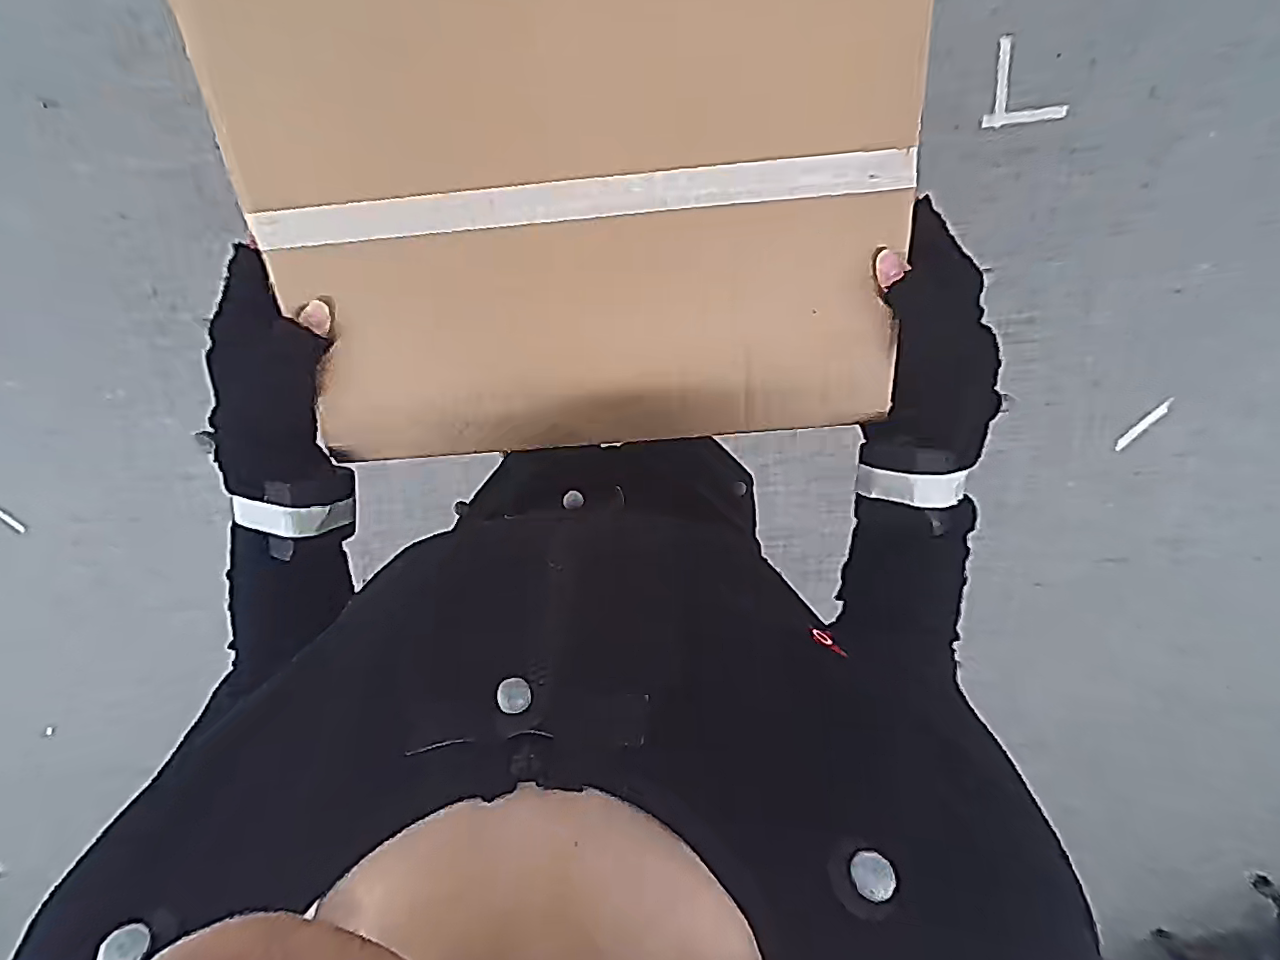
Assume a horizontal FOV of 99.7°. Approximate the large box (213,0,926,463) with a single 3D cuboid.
[{"bbox_3d":[-0.032,-0.227,0.481,0.408,0.320,0.320,-4,114,2],"label":"large box"}]
